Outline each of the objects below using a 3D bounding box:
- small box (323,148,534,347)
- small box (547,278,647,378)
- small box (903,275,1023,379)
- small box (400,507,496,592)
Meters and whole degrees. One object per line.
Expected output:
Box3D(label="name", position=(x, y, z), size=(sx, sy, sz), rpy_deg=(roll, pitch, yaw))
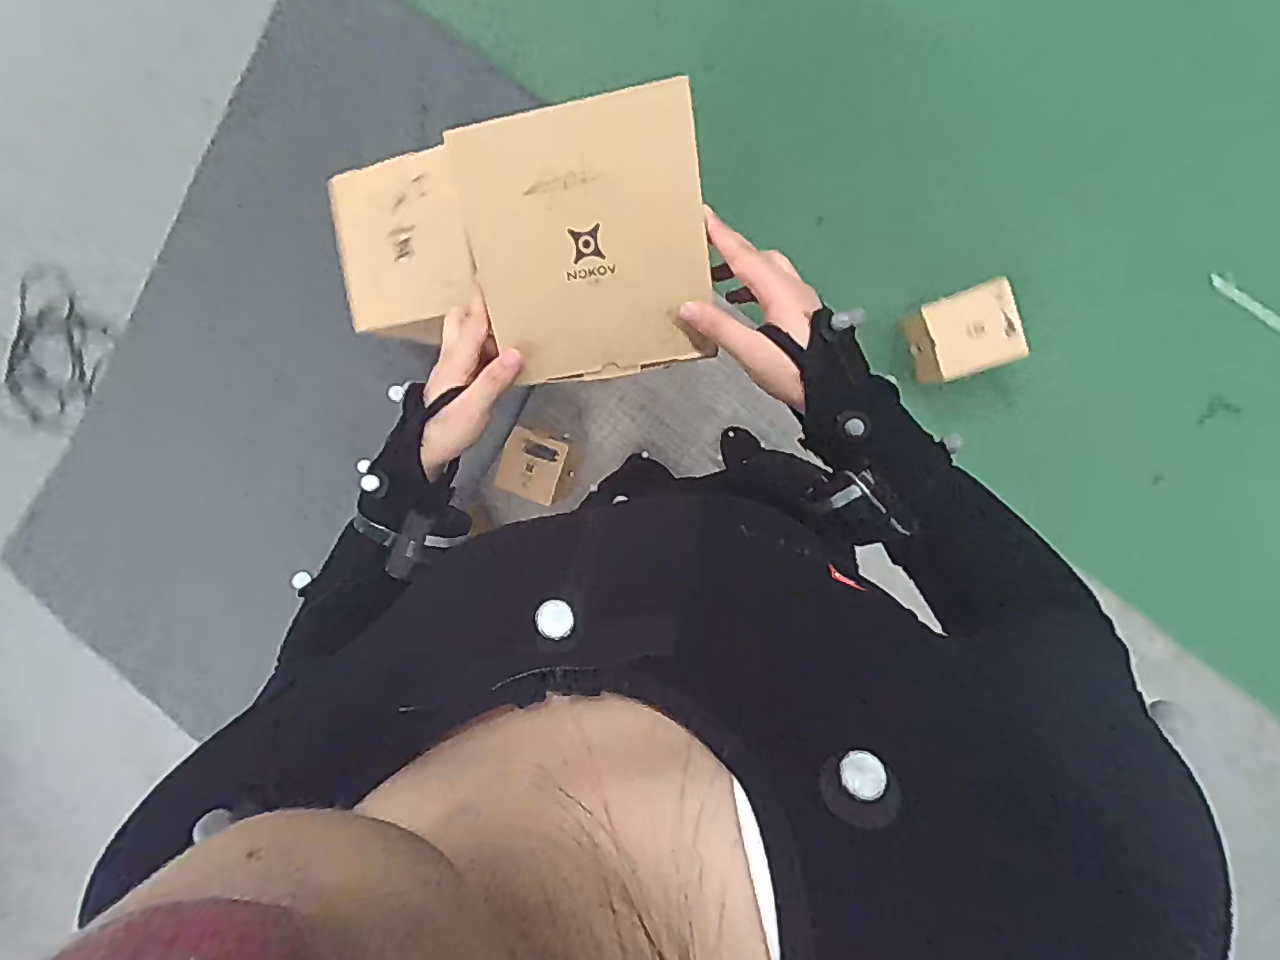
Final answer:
Box3D(label="small box", position=(-0.244, -0.263, 0.664), size=(0.168, 0.176, 0.179), rpy_deg=(-5, 96, 14))
Box3D(label="small box", position=(-0.100, -0.375, 1.373), size=(0.168, 0.176, 0.179), rpy_deg=(43, 102, 2))
Box3D(label="small box", position=(0.714, -0.334, 1.221), size=(0.179, 0.176, 0.168), rpy_deg=(-18, 94, 13))
Box3D(label="small box", position=(-0.538, 0.193, 1.541), size=(0.168, 0.176, 0.179), rpy_deg=(-19, 93, 13))
